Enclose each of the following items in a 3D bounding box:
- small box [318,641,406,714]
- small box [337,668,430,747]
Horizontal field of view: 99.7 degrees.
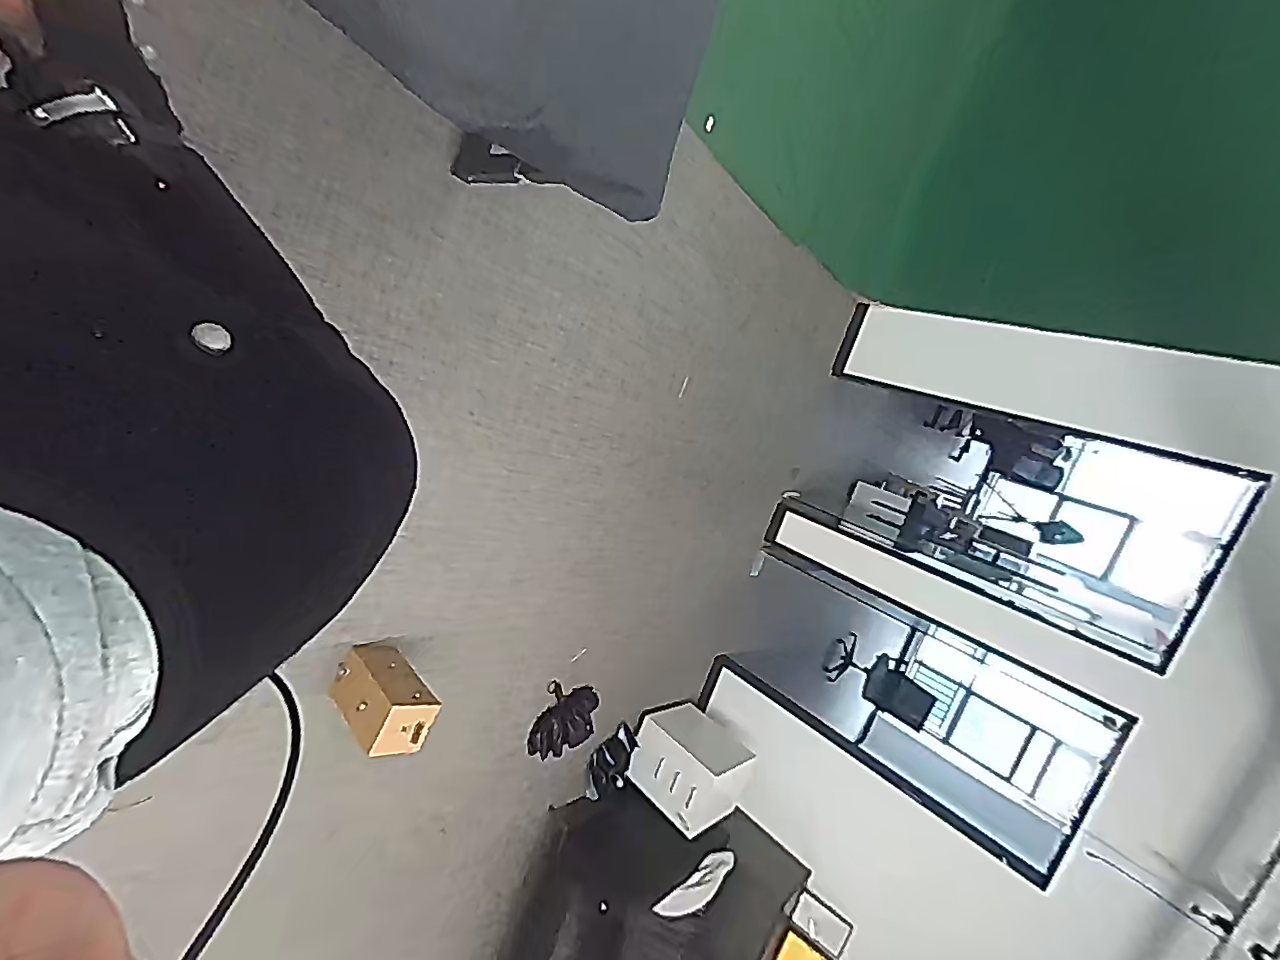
[{"bbox_3d":[-0.927,0.651,1.798,0.179,0.176,0.168,28,88,-52],"label":"small box"},{"bbox_3d":[-0.808,0.709,1.700,0.179,0.176,0.168,30,86,-53],"label":"small box"}]
